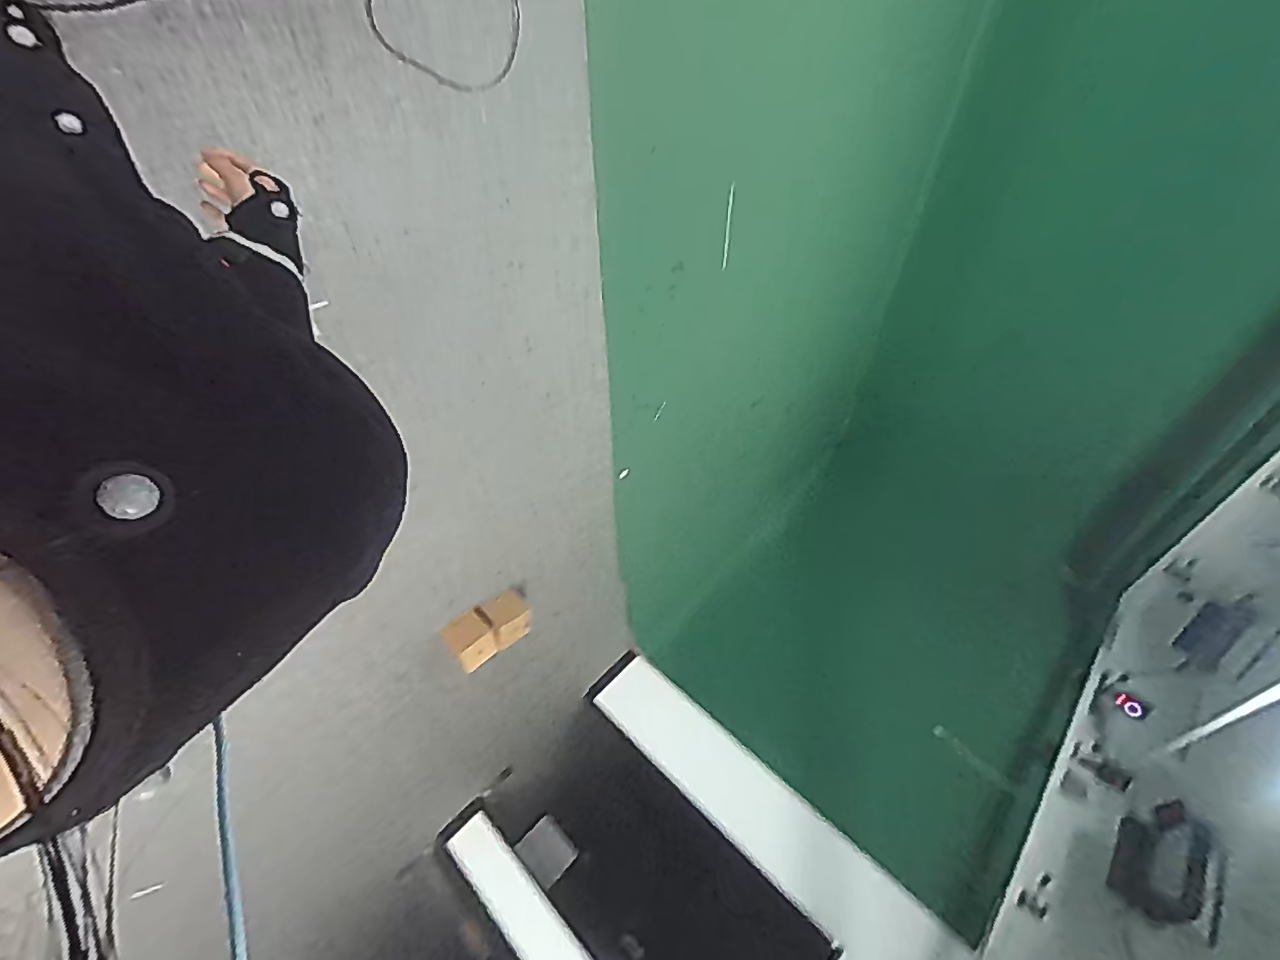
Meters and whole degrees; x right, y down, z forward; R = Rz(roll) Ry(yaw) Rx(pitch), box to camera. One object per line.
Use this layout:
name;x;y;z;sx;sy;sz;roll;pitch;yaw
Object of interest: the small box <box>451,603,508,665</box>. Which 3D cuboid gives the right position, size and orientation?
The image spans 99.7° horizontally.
small box;-0.723;0.688;2.435;0.168;0.176;0.179;-36;143;-30
